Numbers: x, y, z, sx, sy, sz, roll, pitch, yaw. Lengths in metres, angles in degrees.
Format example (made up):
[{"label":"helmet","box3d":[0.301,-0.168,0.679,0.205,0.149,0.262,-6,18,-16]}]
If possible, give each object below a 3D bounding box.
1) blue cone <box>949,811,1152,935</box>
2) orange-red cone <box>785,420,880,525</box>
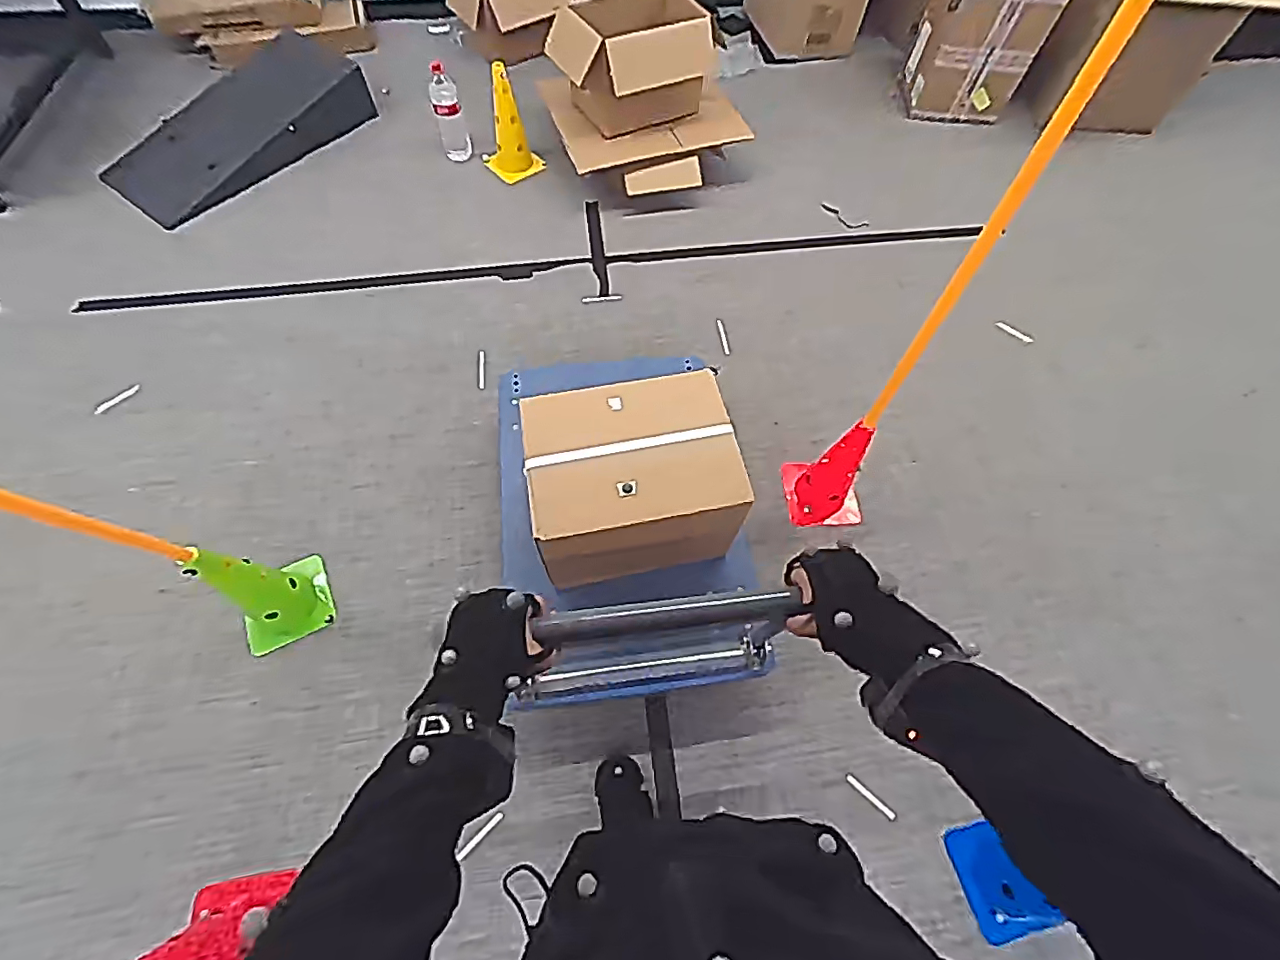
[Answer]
[{"label":"blue cone","box3d":[0.771,0.743,0.990,0.193,0.380,0.192,-10,62,-7]},{"label":"orange-red cone","box3d":[0.524,-0.042,1.382,0.199,0.360,0.198,0,63,-3]}]
